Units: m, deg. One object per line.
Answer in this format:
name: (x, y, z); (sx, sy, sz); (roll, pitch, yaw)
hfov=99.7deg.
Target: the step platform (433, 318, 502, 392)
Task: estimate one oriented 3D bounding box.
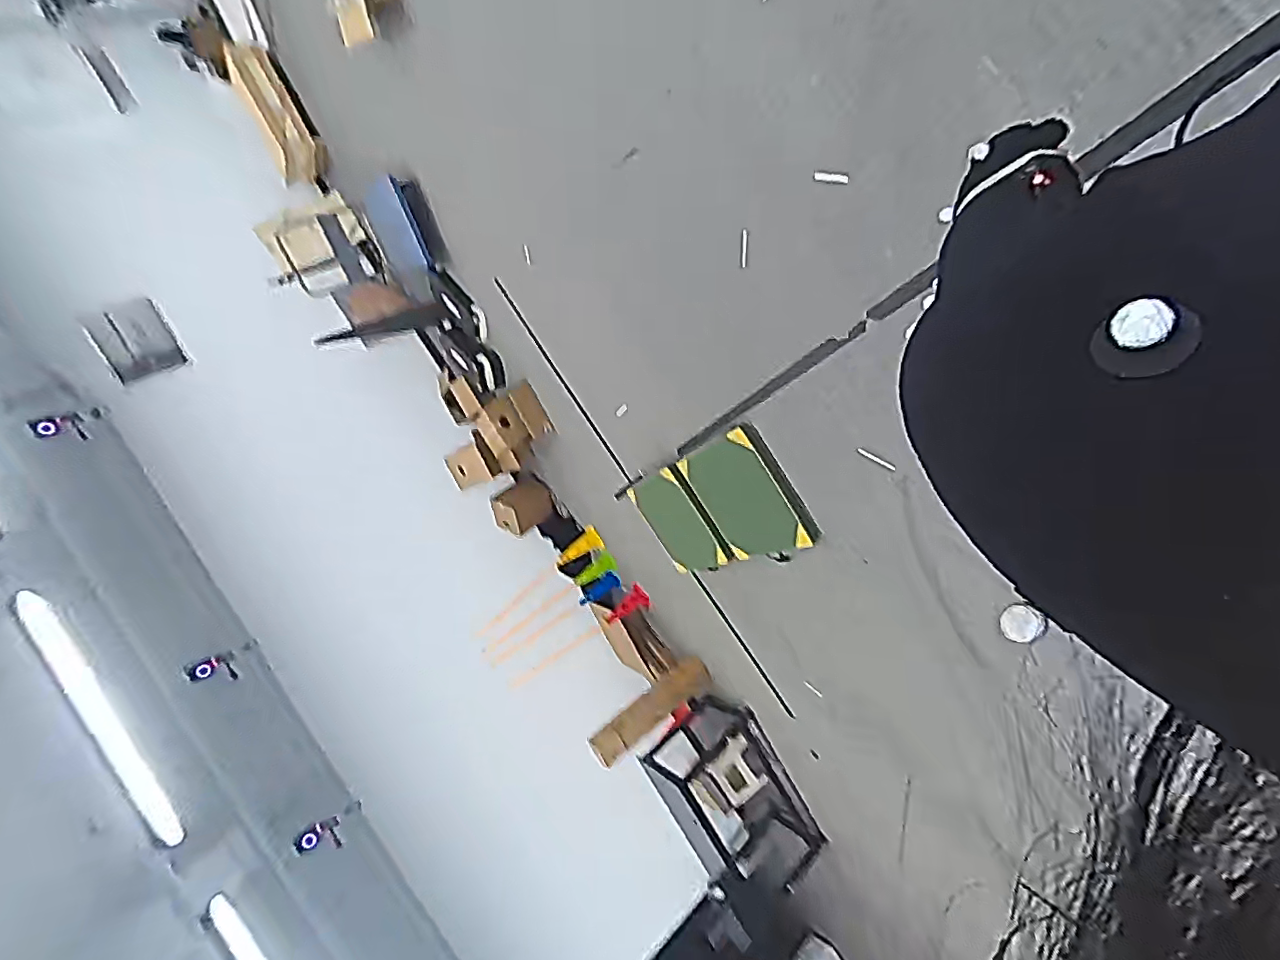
step platform: (-1.363, -0.985, 4.251); (0.684, 0.204, 0.286); (41, 149, 26)
